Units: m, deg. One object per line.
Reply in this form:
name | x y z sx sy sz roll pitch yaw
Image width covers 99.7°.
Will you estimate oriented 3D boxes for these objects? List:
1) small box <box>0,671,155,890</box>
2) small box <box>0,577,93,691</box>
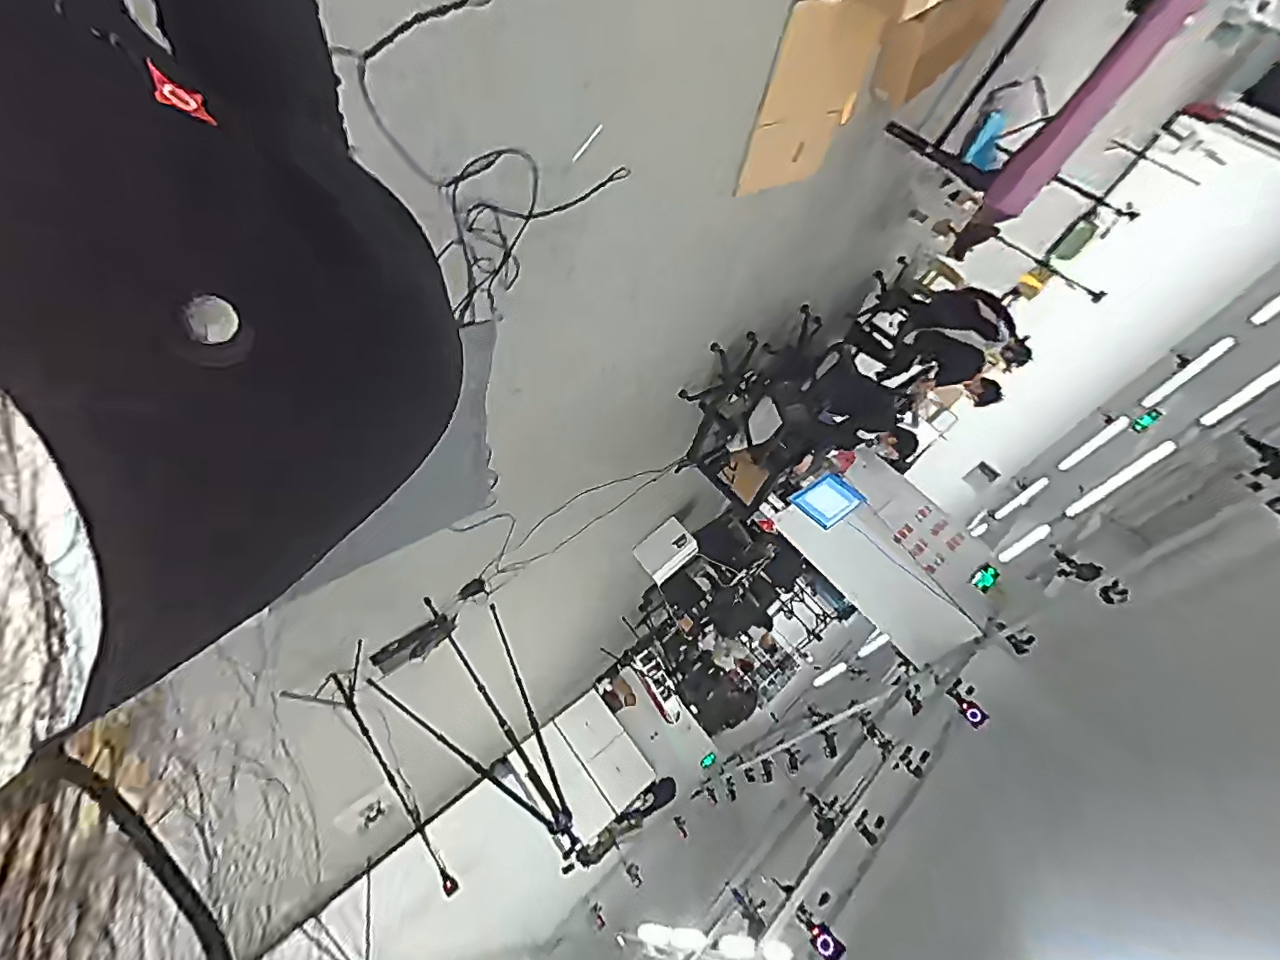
small box | -0.770 0.369 0.668 0.179 0.176 0.168 -31 158 -30
small box | -0.880 0.255 0.709 0.168 0.176 0.179 -31 157 -32
